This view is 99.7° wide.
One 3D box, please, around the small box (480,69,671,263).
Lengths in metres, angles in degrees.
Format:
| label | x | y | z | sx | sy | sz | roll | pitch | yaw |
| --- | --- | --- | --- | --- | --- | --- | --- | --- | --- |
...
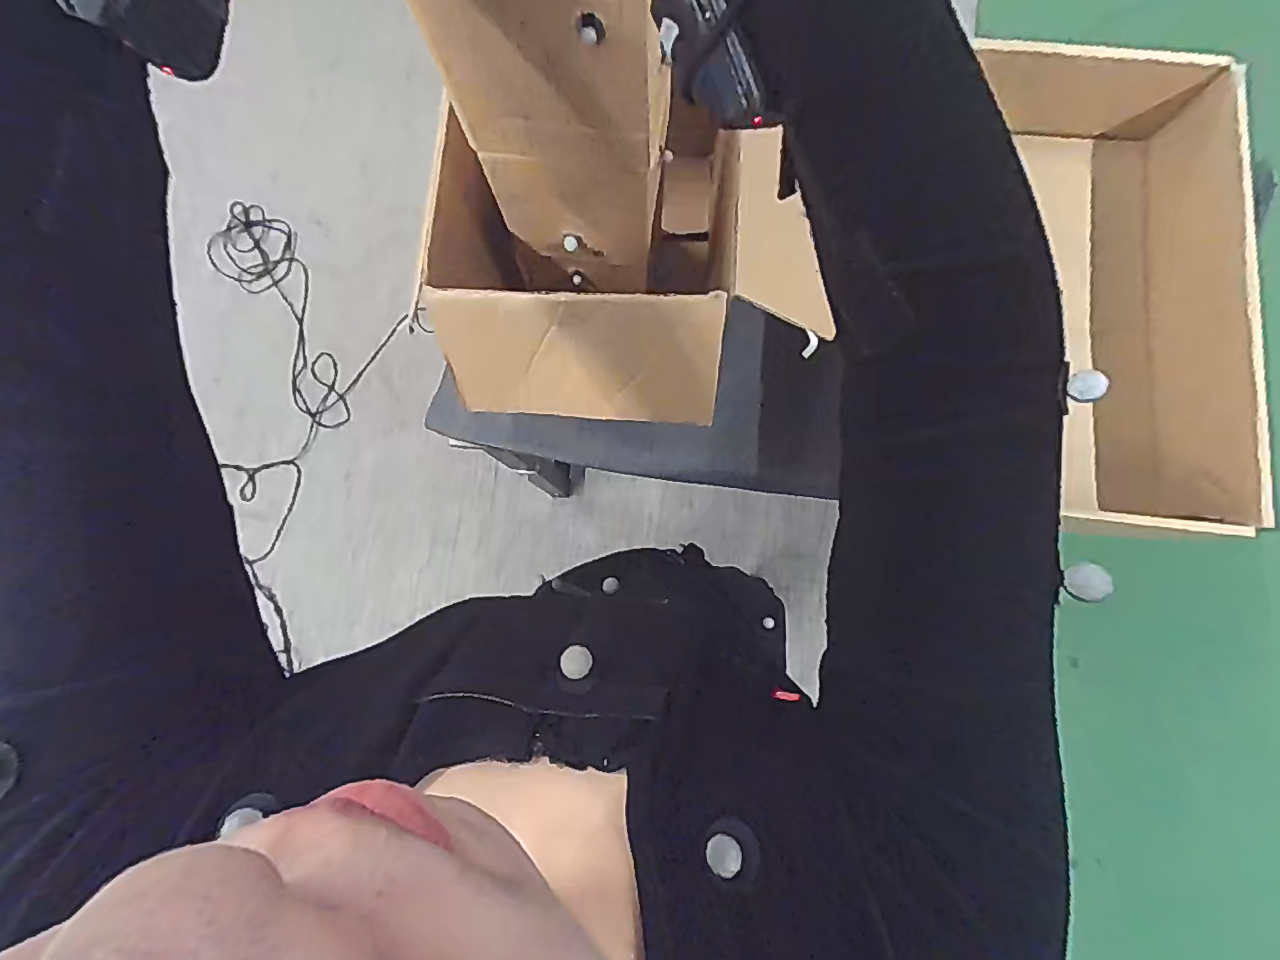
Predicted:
| label | x | y | z | sx | sy | sz | roll | pitch | yaw |
| --- | --- | --- | --- | --- | --- | --- | --- | --- | --- |
| small box | -0.060 | -0.373 | 0.602 | 0.168 | 0.176 | 0.179 | 8 | 84 | 2 |

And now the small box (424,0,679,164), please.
| label | x | y | z | sx | sy | sz | roll | pitch | yaw |
| --- | --- | --- | --- | --- | --- | --- | --- | --- | --- |
| small box | -0.063 | -0.394 | 0.441 | 0.179 | 0.176 | 0.168 | 9 | 82 | 2 |
